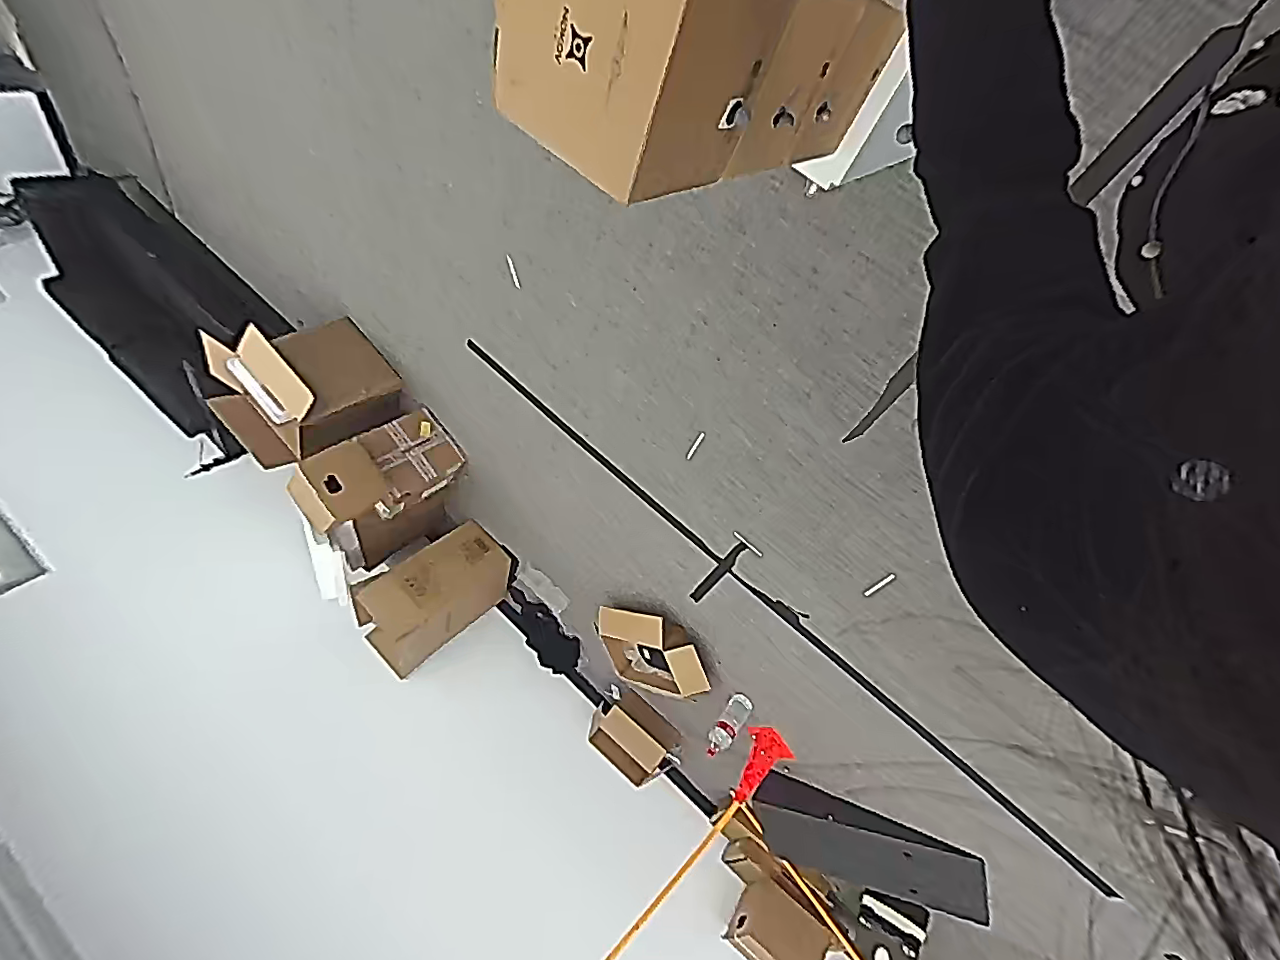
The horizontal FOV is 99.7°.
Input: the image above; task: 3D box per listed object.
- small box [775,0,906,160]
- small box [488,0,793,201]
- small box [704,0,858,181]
[{"bbox_3d":[0.191,-0.533,0.677,0.179,0.176,0.168,43,139,12],"label":"small box"},{"bbox_3d":[-0.004,-0.376,0.469,0.179,0.176,0.168,40,140,12],"label":"small box"},{"bbox_3d":[0.095,-0.453,0.572,0.179,0.176,0.168,41,140,12],"label":"small box"}]
